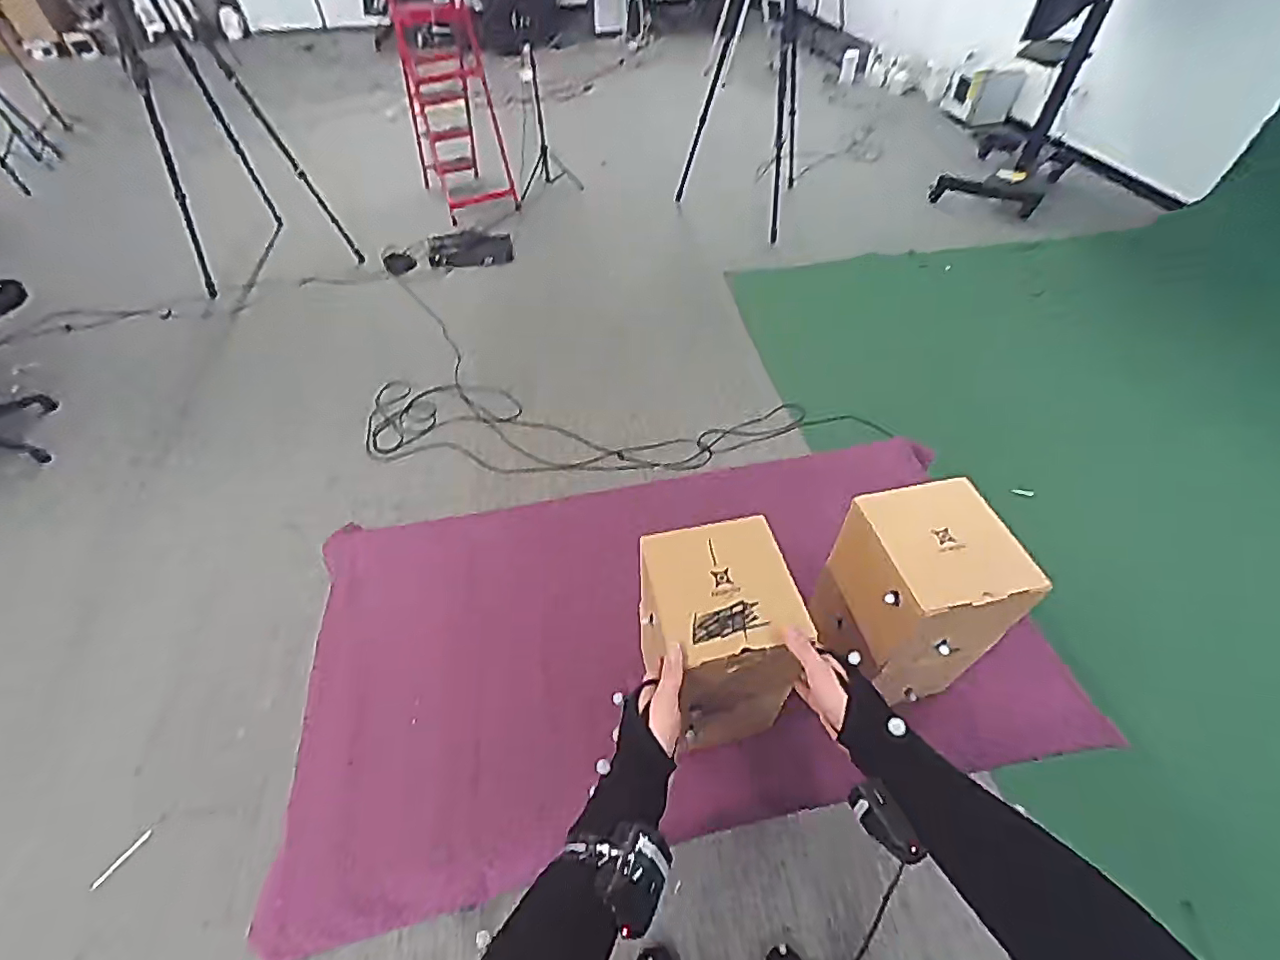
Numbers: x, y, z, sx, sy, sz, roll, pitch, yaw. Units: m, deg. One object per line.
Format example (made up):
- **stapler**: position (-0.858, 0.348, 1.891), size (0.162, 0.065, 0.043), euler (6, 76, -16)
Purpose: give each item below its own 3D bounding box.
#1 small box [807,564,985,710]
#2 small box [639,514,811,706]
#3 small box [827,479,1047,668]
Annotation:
- **small box**: position (0.382, 0.233, 0.850), size (0.168, 0.176, 0.179), euler (-10, 49, -7)
- **small box**: position (0.096, 0.173, 0.694), size (0.168, 0.176, 0.179), euler (-9, 49, -7)
- **small box**: position (0.376, 0.126, 0.729), size (0.168, 0.176, 0.179), euler (-10, 50, -7)
